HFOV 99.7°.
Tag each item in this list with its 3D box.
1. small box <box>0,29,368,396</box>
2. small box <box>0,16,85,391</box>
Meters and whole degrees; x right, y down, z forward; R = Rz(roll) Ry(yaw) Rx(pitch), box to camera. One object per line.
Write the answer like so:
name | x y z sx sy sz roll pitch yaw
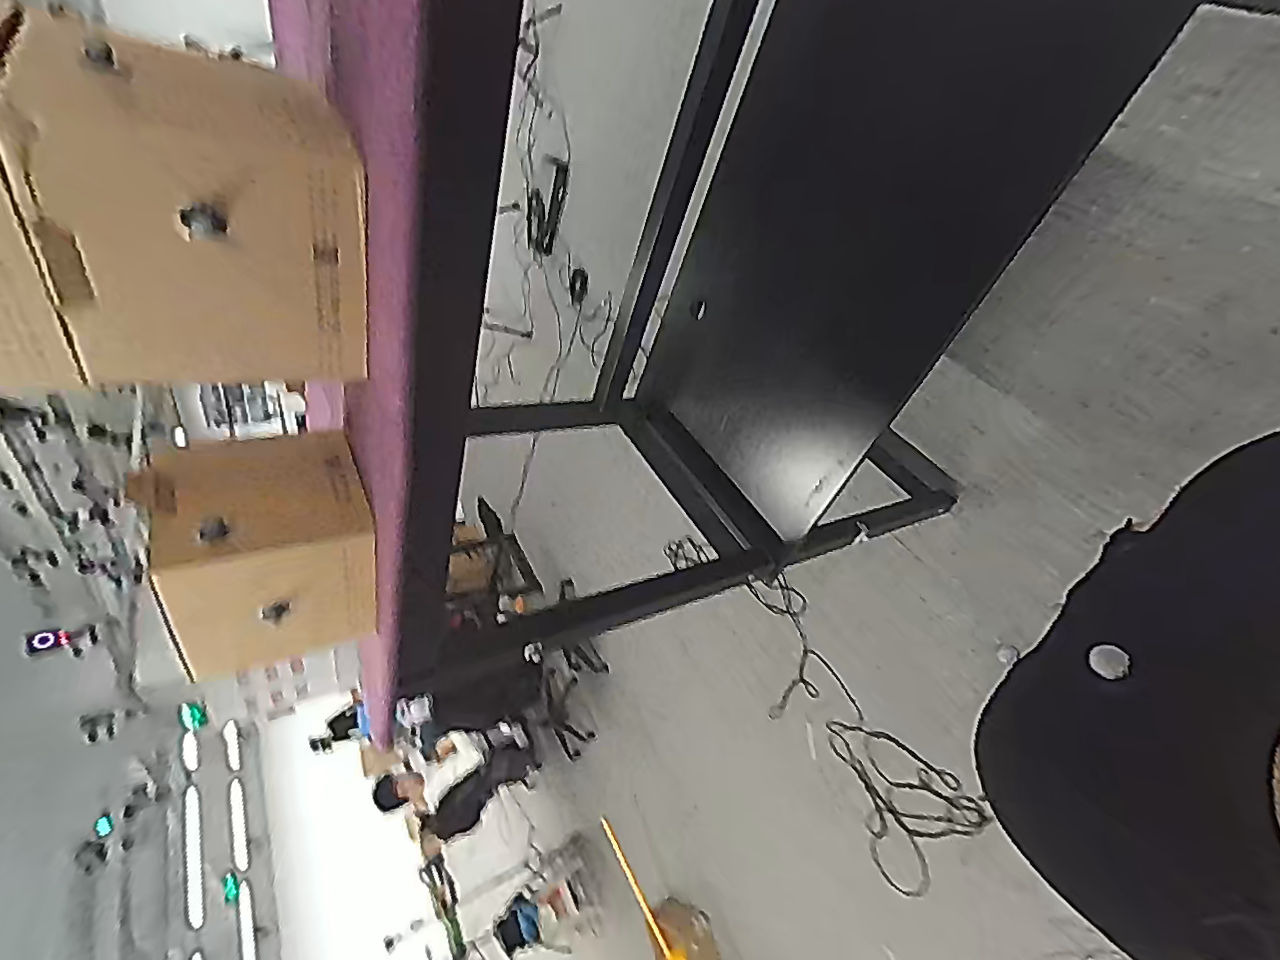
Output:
small box | -0.302 -0.181 0.390 0.179 0.176 0.168 55 138 34
small box | -0.438 -0.159 0.299 0.168 0.176 0.179 54 137 32
